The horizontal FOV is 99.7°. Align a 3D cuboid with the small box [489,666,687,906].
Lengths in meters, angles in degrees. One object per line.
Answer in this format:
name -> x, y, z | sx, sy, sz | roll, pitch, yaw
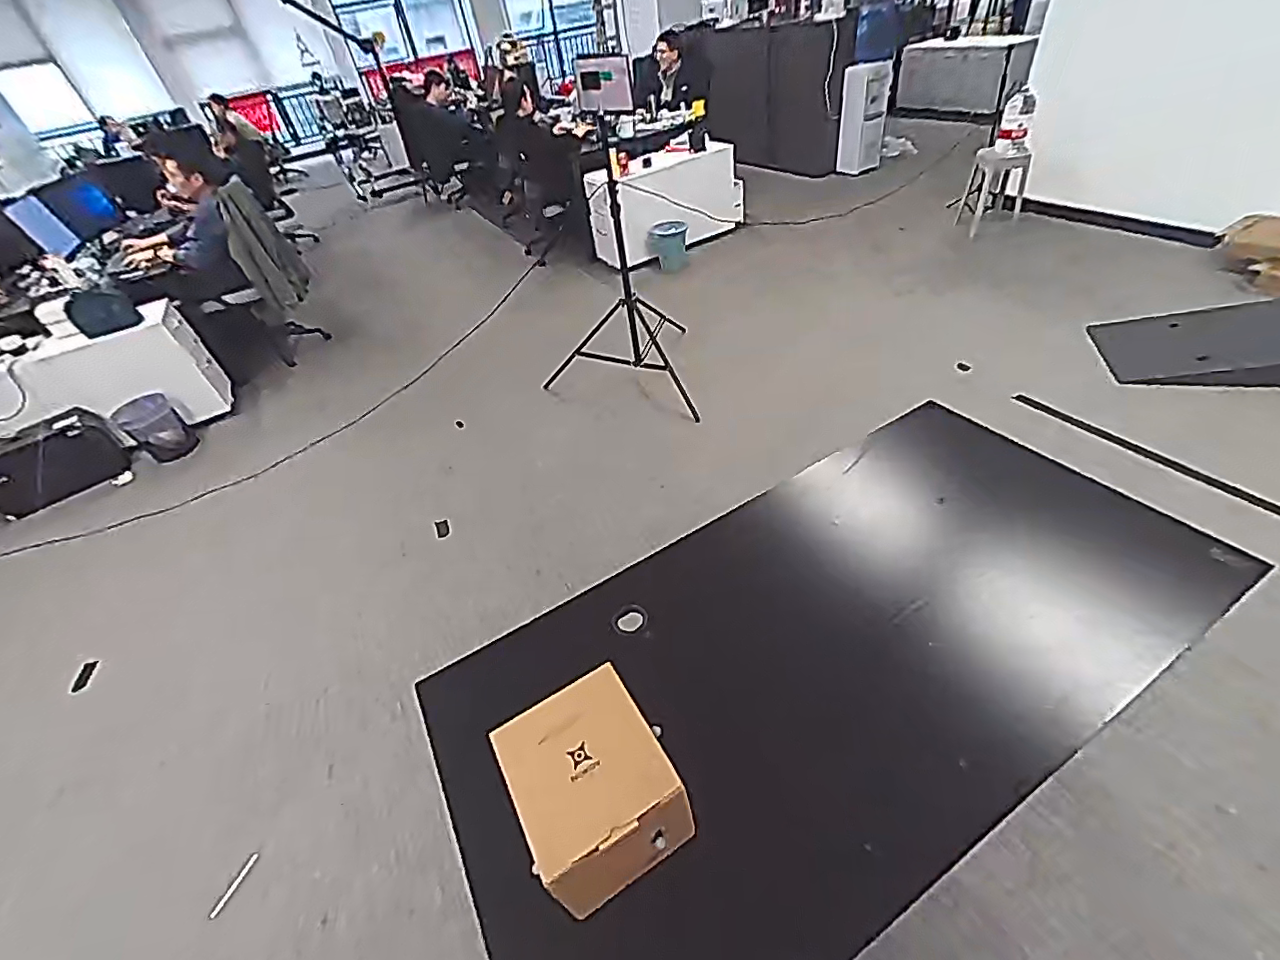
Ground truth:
small box -> -0.057, 0.373, 0.657 | 0.168, 0.176, 0.179 | -26, 43, -18
